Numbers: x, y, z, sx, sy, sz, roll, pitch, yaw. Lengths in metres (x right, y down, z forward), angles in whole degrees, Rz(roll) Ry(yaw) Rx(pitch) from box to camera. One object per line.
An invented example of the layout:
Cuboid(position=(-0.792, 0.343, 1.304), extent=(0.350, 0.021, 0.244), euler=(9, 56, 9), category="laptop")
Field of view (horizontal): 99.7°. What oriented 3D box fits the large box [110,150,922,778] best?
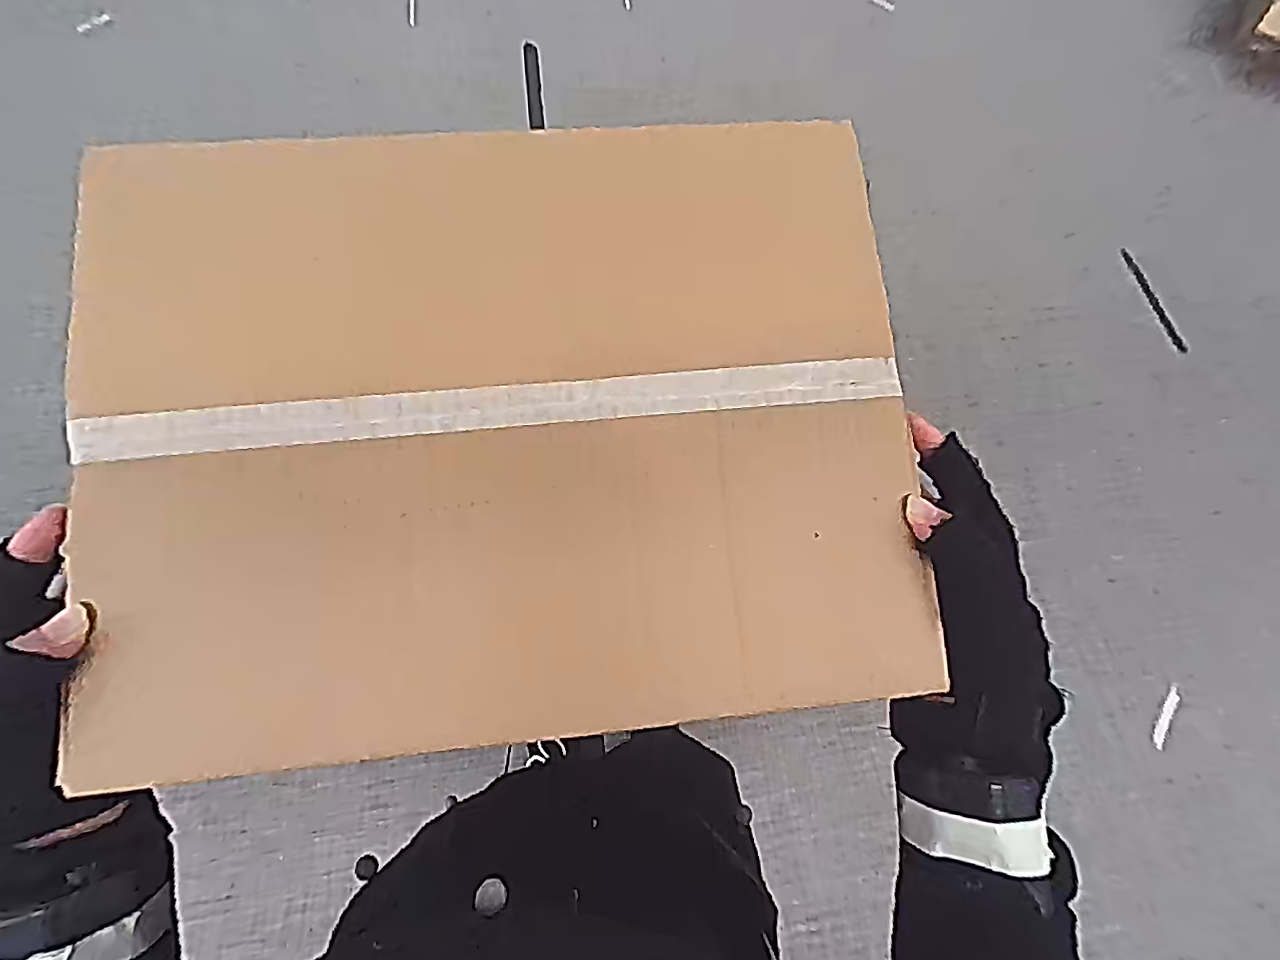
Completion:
Cuboid(position=(-0.074, -0.007, 0.433), extent=(0.408, 0.320, 0.320), euler=(-5, 83, -4), category="large box")
